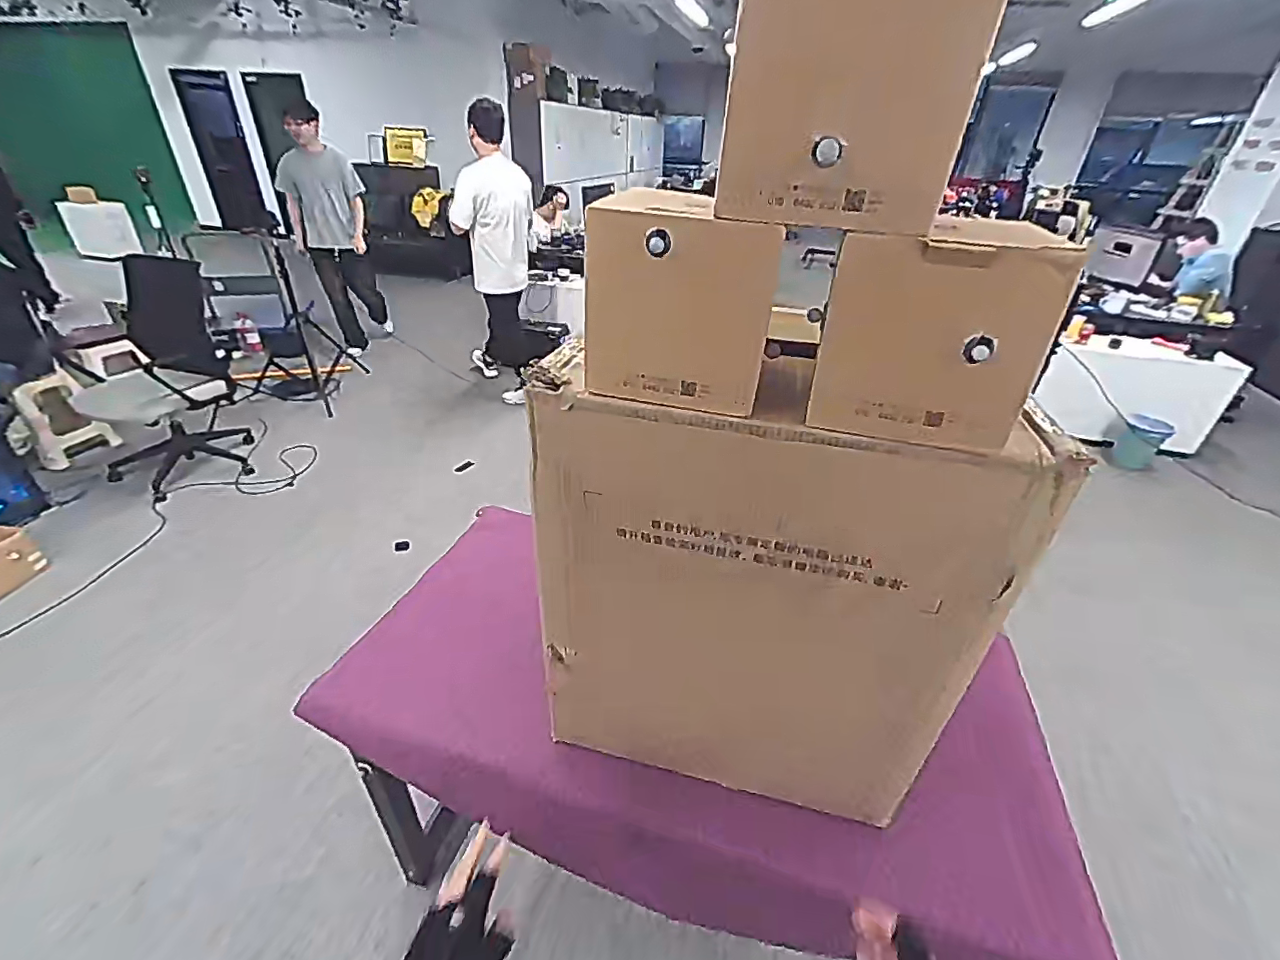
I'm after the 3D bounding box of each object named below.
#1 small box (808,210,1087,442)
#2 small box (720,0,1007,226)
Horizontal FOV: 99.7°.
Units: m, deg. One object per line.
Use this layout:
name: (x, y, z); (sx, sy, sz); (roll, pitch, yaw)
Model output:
small box: (0.258, -0.151, 0.501); (0.168, 0.176, 0.179); (12, 32, 15)
small box: (0.160, -0.312, 0.440); (0.168, 0.176, 0.179); (8, 33, 8)
